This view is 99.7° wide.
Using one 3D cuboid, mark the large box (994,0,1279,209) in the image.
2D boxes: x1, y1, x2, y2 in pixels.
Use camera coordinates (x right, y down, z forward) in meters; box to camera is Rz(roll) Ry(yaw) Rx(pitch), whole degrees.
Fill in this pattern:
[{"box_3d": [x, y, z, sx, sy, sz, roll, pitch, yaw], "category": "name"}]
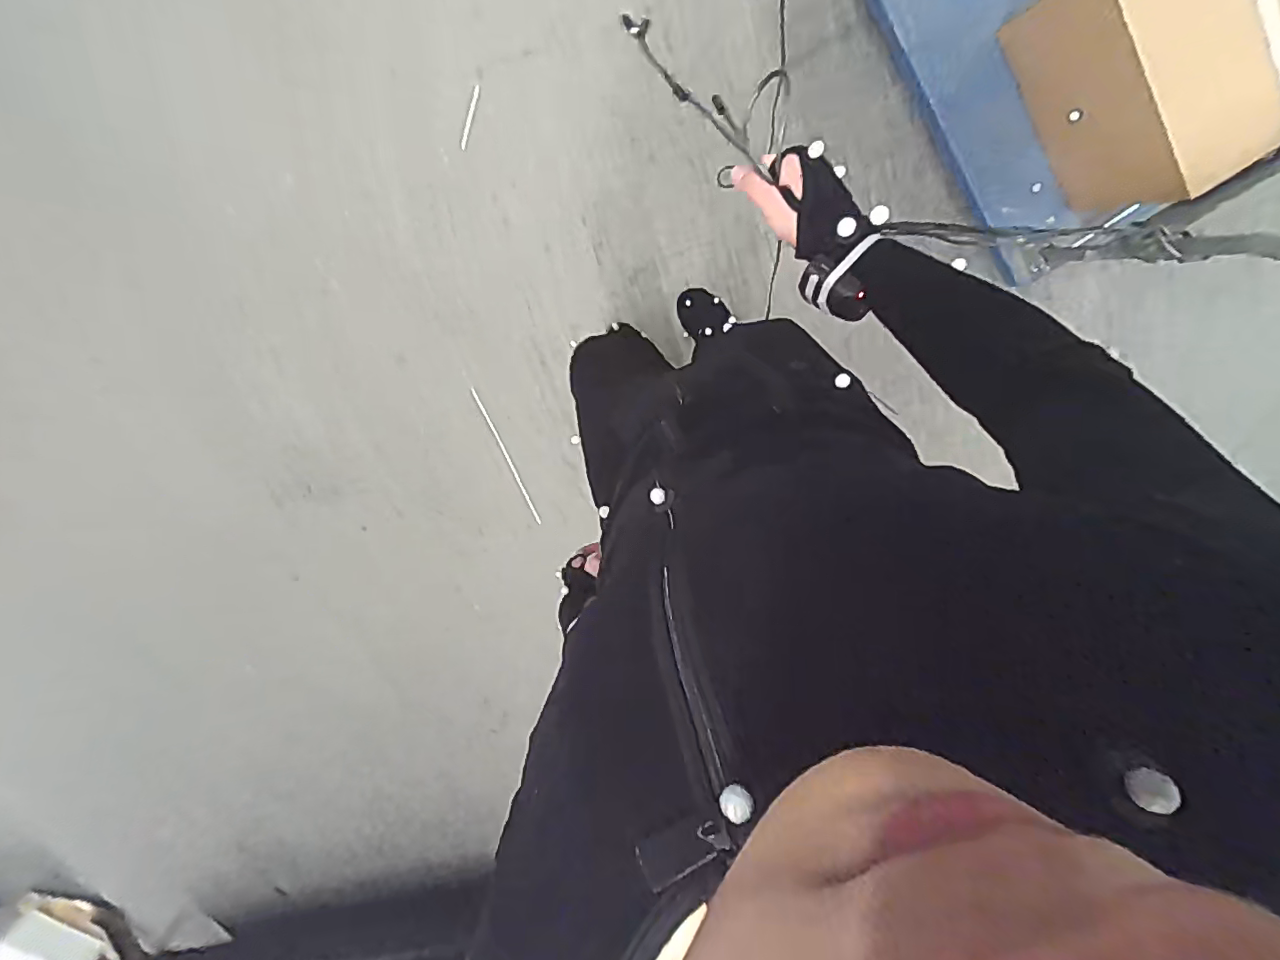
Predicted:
[{"box_3d": [0.924, -0.755, 0.946, 0.320, 0.320, 0.408, -34, 106, 17], "category": "large box"}]
